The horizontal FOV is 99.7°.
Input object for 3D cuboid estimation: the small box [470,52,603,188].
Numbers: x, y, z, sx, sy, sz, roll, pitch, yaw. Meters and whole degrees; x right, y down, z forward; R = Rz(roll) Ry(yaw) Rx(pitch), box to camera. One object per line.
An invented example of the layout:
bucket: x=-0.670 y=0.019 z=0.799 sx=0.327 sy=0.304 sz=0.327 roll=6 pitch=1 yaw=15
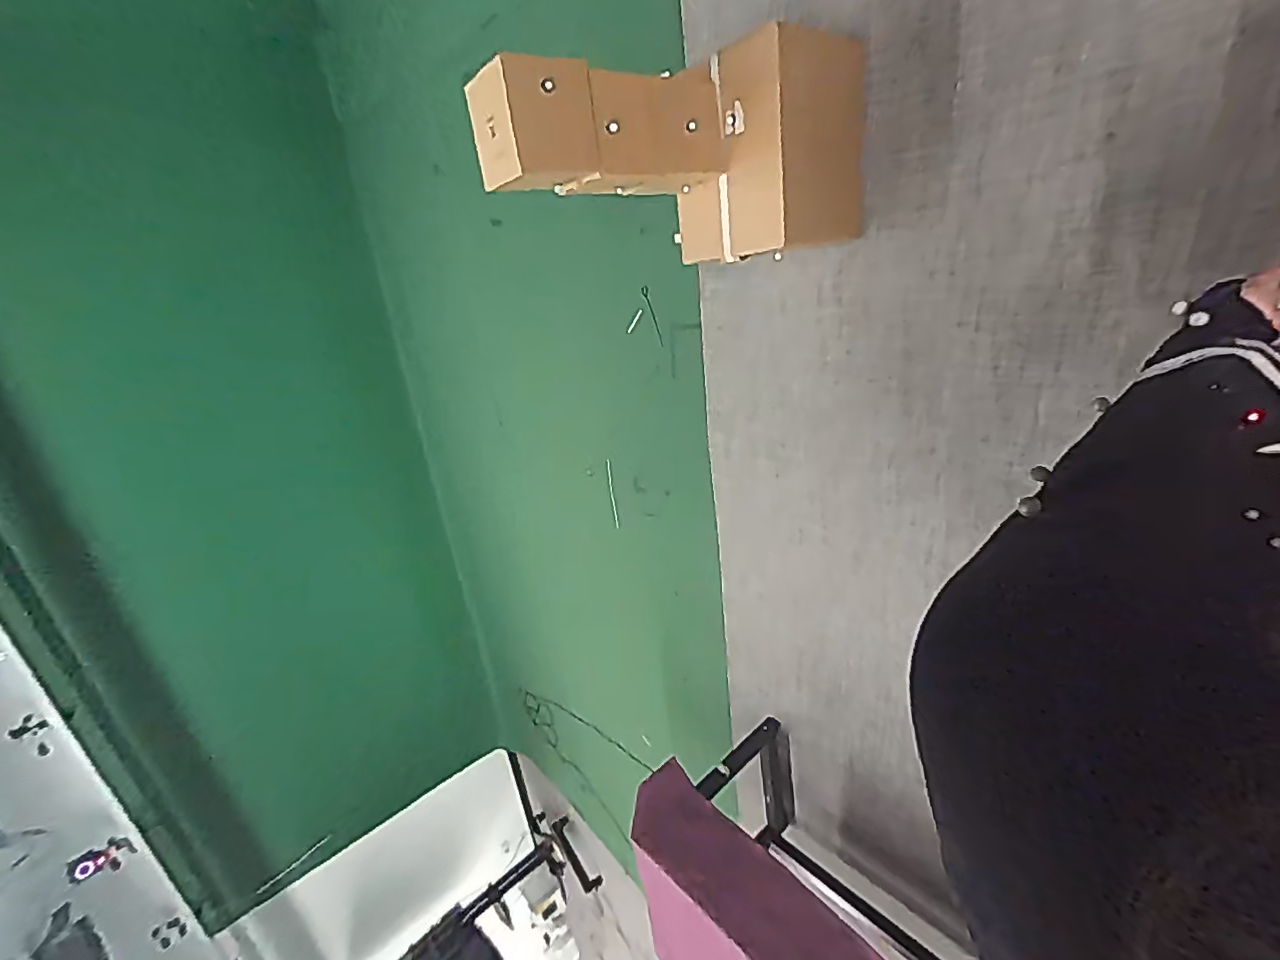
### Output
small box: x=-0.187 y=-0.653 z=1.001 sx=0.168 sy=0.176 sz=0.179 roll=21 pitch=126 yaw=50

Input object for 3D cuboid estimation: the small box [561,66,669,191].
small box: x=-0.062 y=-0.698 z=1.095 sx=0.168 sy=0.176 sz=0.179 roll=18 pitch=124 yaw=51

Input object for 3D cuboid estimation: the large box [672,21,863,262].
large box: x=0.309 y=-0.758 z=1.283 sx=0.320 sy=0.320 sz=0.408 roll=16 pitch=120 yaw=48
